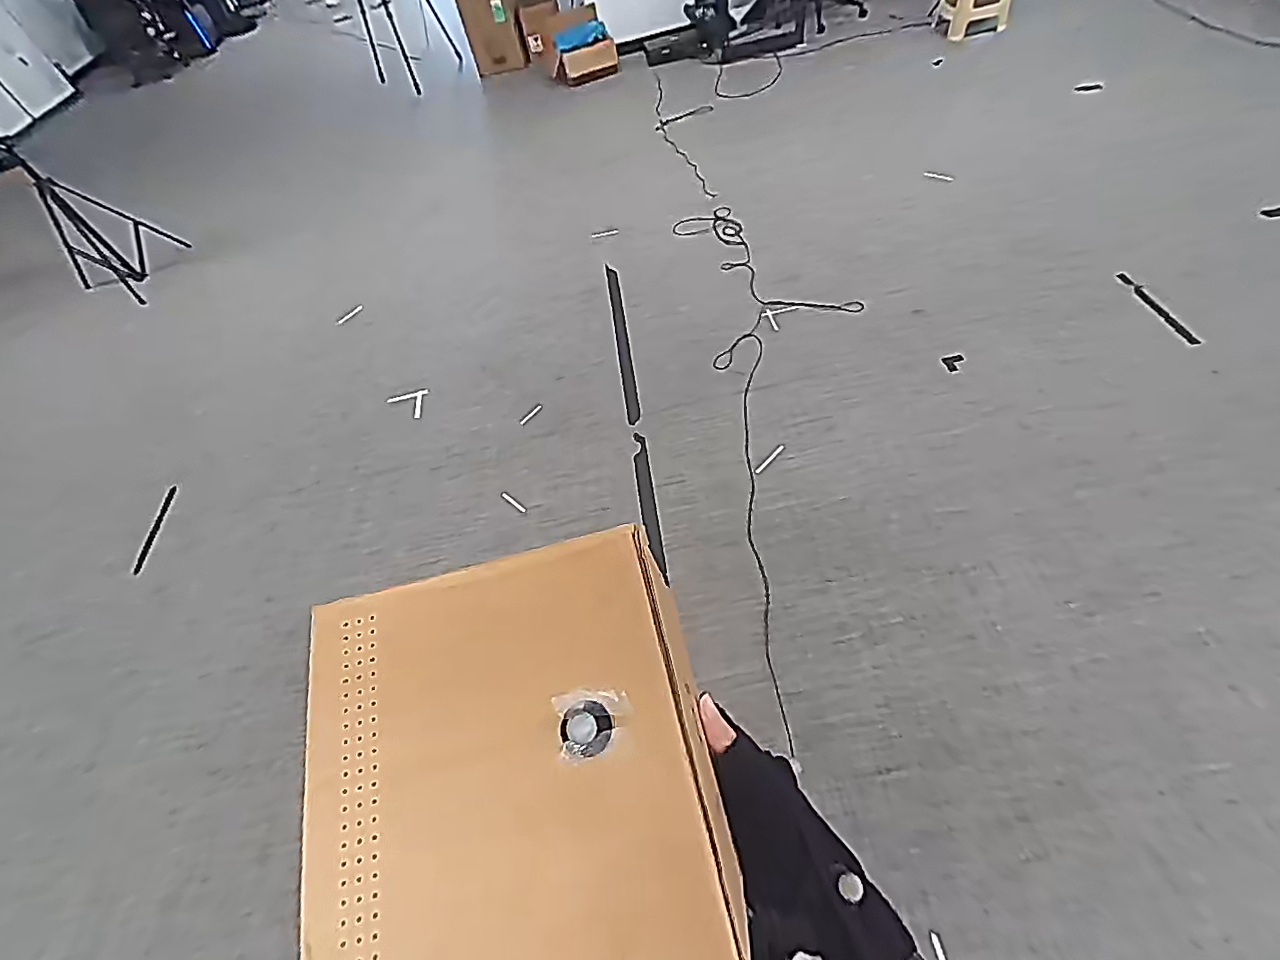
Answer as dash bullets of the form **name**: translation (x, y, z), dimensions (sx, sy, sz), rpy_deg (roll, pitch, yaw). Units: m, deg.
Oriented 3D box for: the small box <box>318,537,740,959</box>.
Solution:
- **small box**: translation (-0.051, 0.157, 0.306), dimensions (0.176, 0.168, 0.179), rpy_deg (-15, 64, 3)
